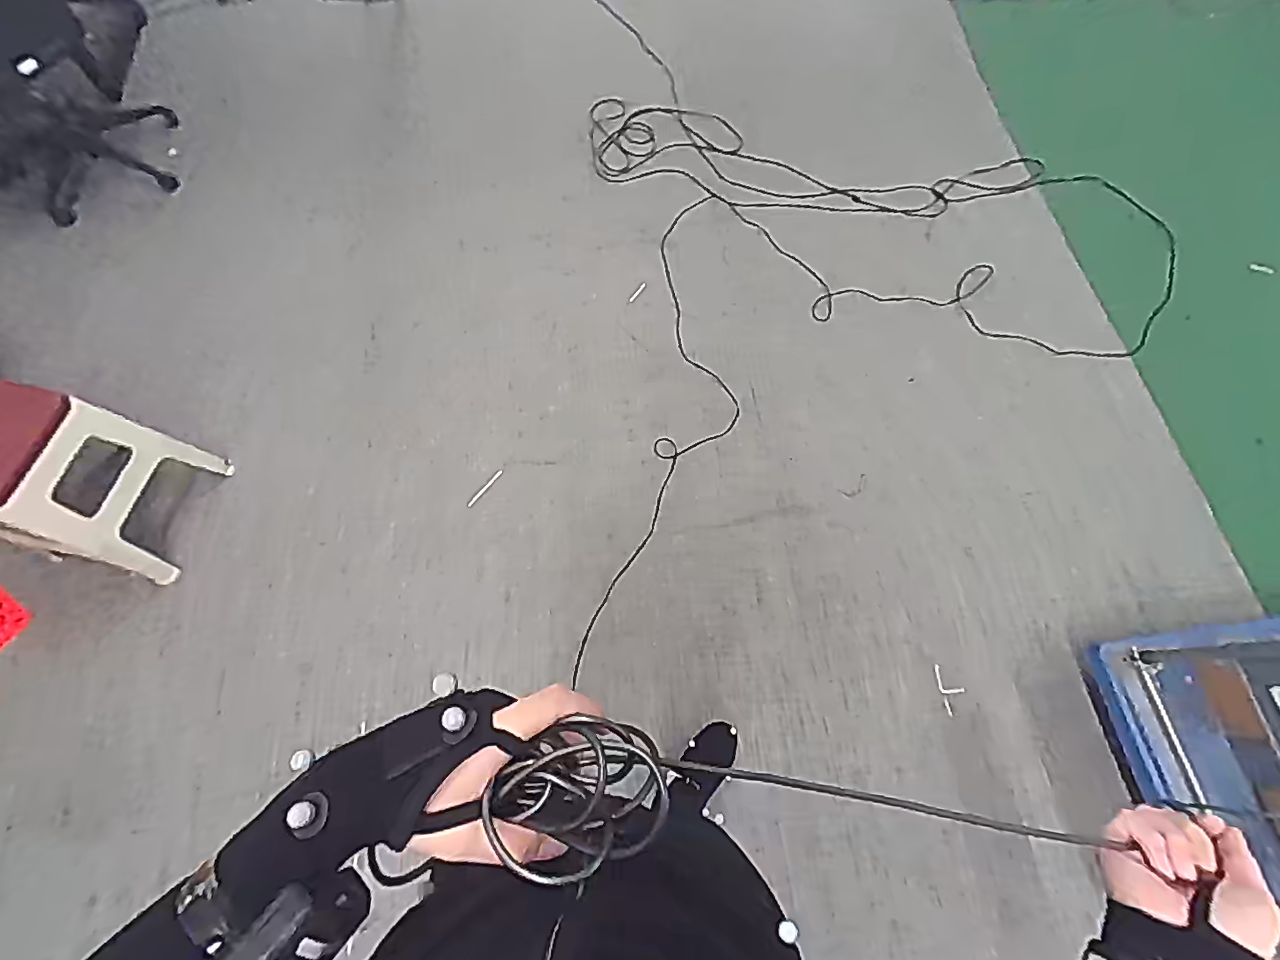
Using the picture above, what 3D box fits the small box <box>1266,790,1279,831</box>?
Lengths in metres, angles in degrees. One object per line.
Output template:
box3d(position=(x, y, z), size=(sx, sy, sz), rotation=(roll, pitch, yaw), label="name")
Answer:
box3d(position=(1.479, 0.732, 1.103), size=(0.179, 0.176, 0.168), rotation=(-6, 68, -2), label="small box")
